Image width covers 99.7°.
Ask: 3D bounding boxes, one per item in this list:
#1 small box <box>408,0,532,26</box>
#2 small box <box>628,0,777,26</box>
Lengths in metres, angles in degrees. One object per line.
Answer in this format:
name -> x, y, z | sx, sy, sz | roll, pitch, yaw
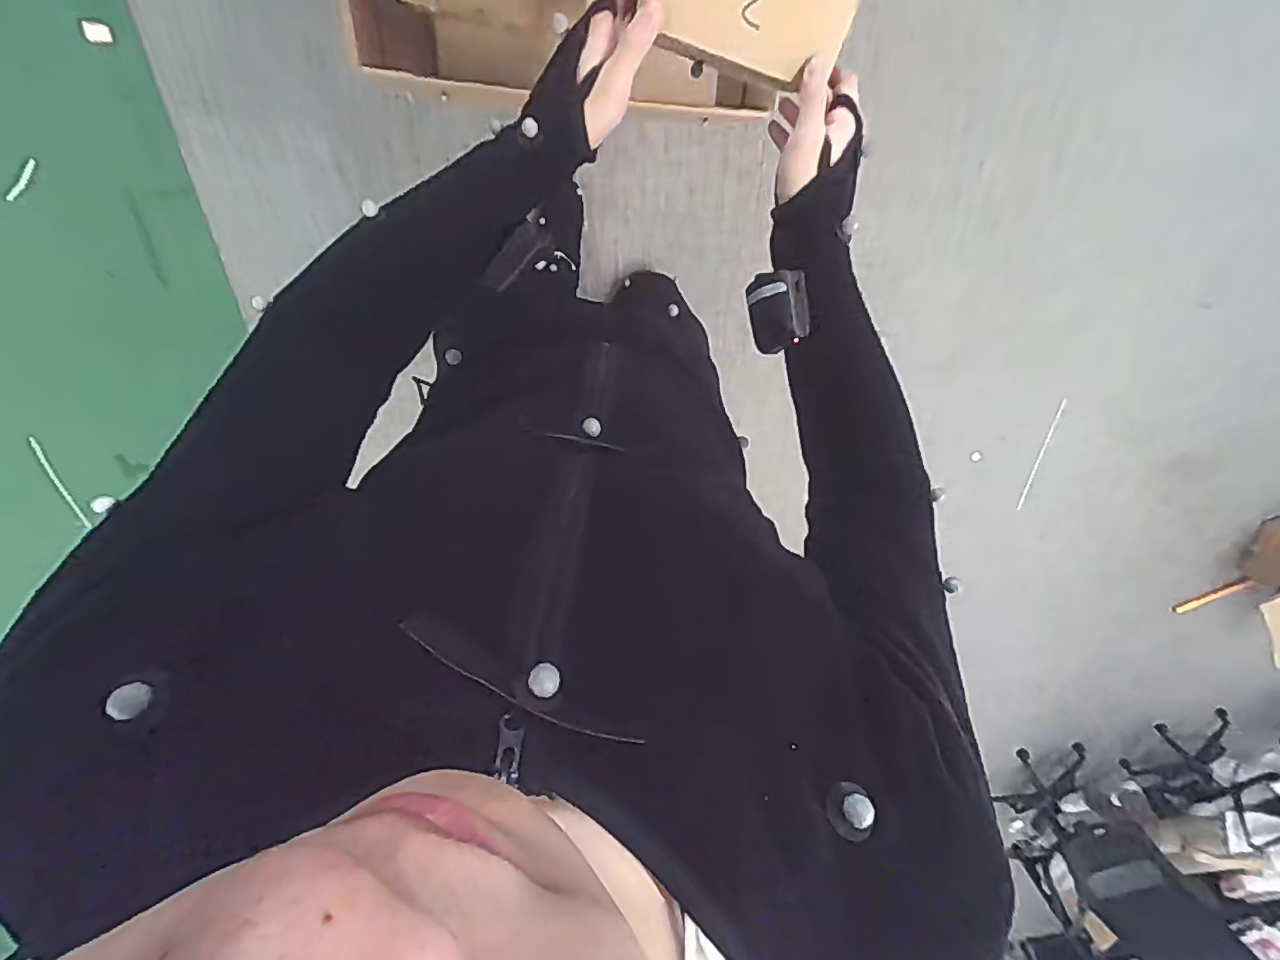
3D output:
small box -> -0.203, -0.633, 0.593 | 0.168, 0.176, 0.179 | 2, 121, -11
small box -> 0.074, -0.654, 0.623 | 0.168, 0.176, 0.179 | 0, 122, -10
